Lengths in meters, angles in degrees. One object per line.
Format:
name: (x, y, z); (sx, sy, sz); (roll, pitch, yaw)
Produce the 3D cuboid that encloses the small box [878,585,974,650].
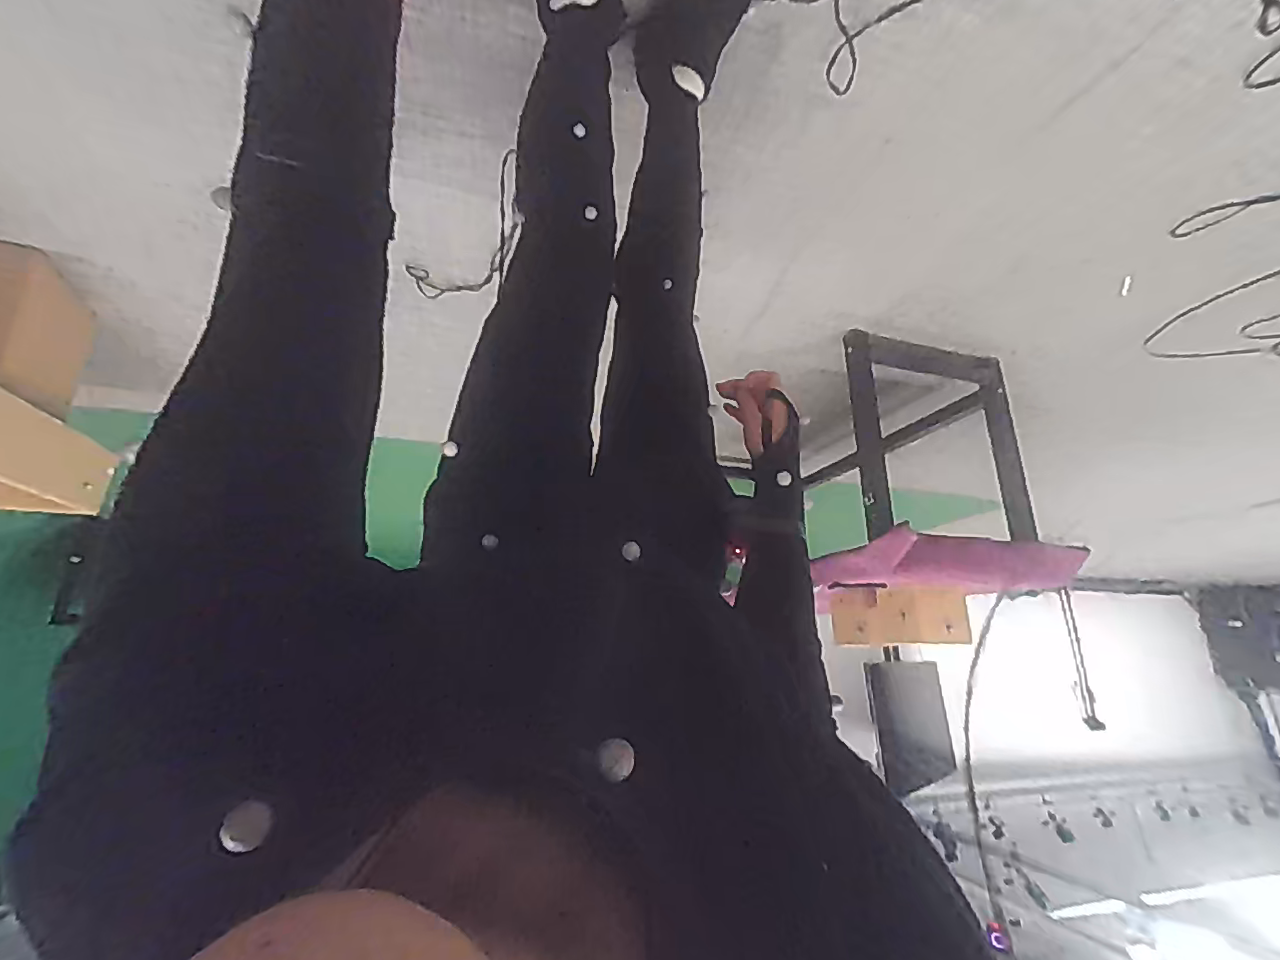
small box: (0.819, 0.401, 1.568); (0.179, 0.176, 0.168); (5, 161, -15)
